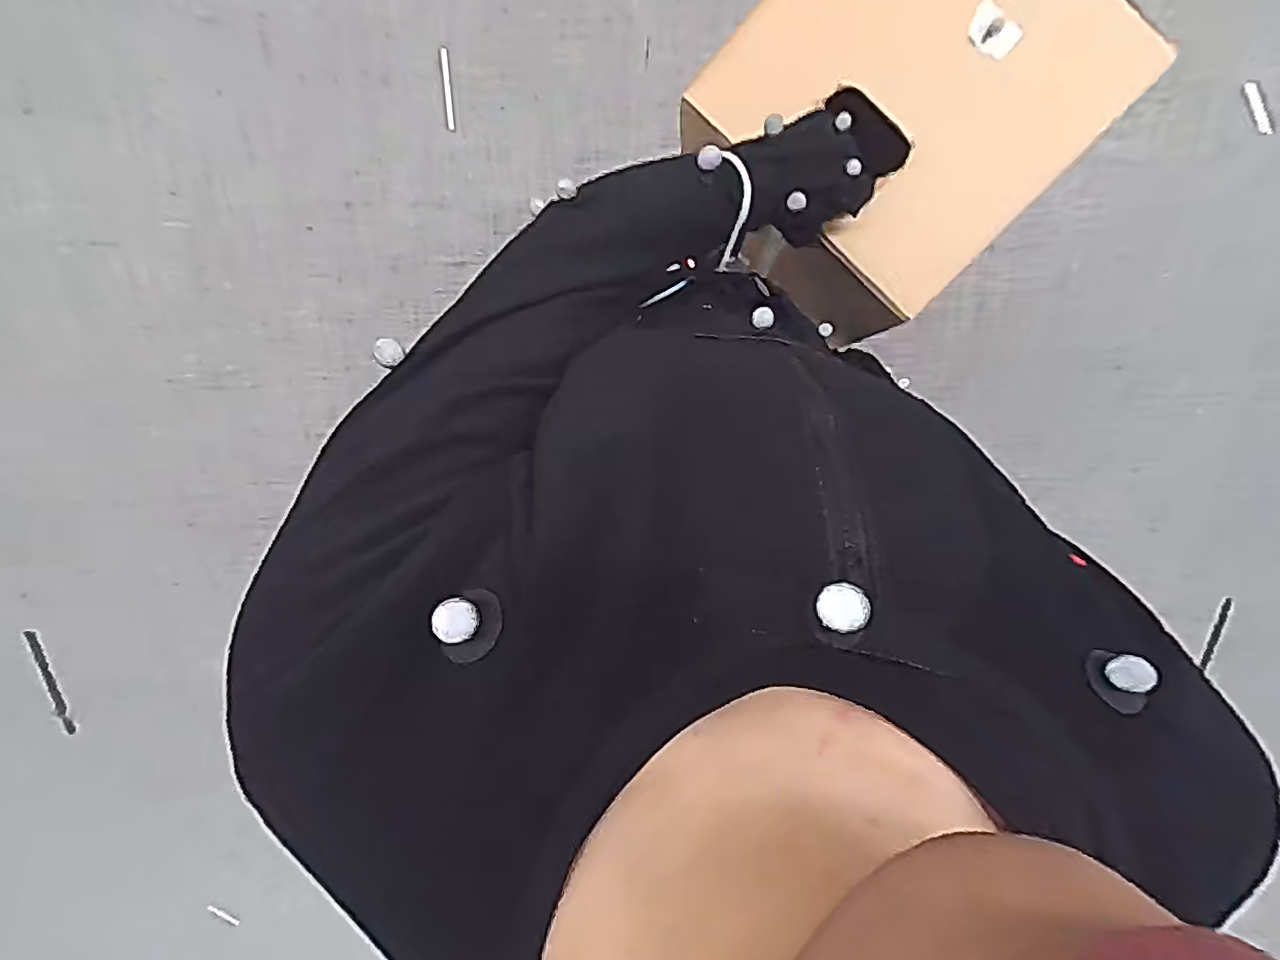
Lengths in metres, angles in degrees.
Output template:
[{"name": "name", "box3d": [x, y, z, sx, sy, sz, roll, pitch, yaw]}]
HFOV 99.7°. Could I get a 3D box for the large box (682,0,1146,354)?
[{"name": "large box", "box3d": [0.275, -0.397, 0.698, 0.320, 0.408, 0.320, 44, 100, -2]}]
